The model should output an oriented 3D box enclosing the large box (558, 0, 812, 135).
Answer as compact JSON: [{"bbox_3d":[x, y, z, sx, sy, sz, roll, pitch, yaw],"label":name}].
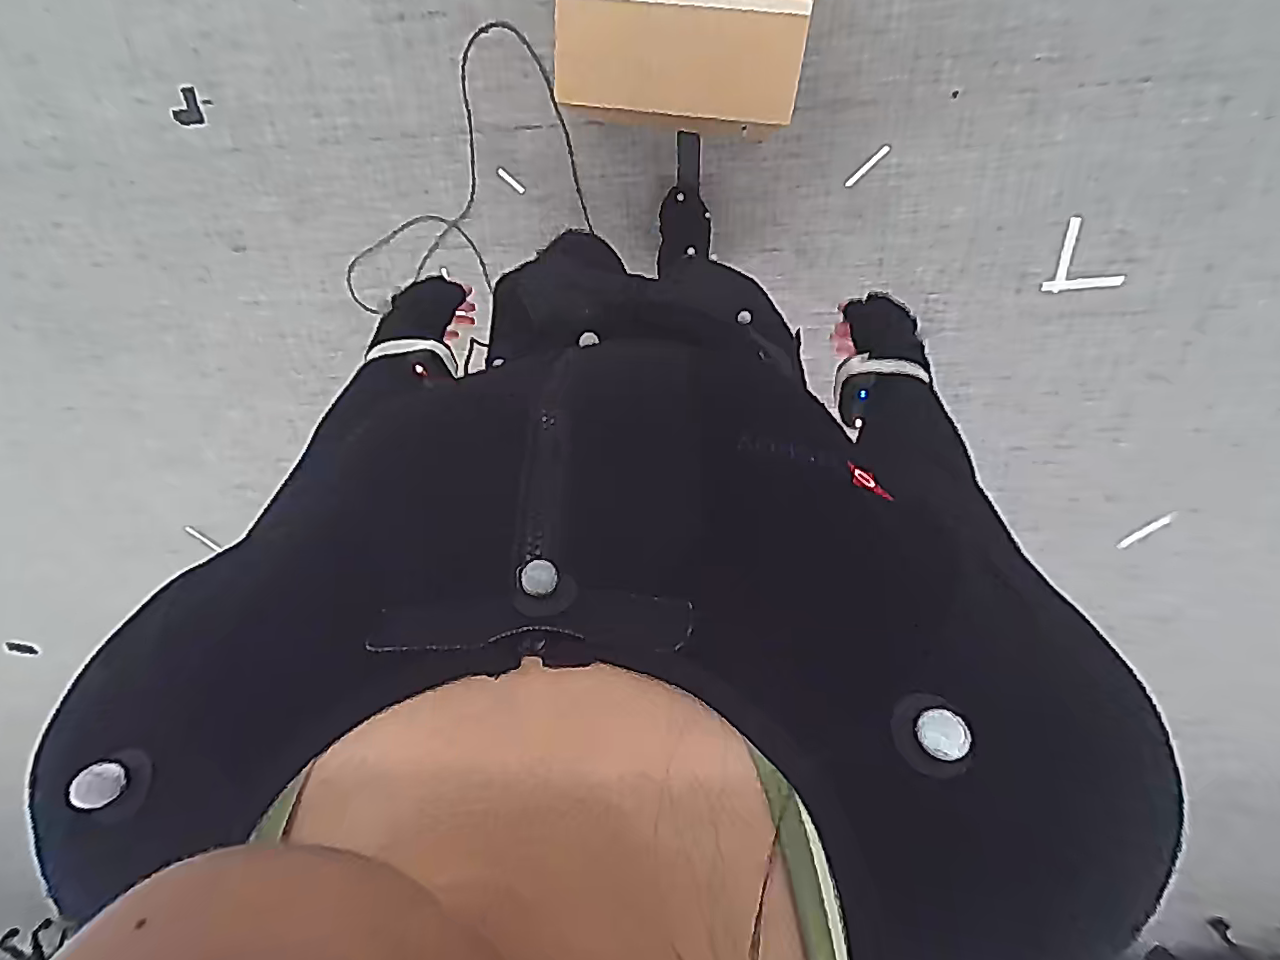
[{"bbox_3d":[0.079,-0.822,0.973,0.408,0.320,0.320,6,119,0],"label":"large box"}]
